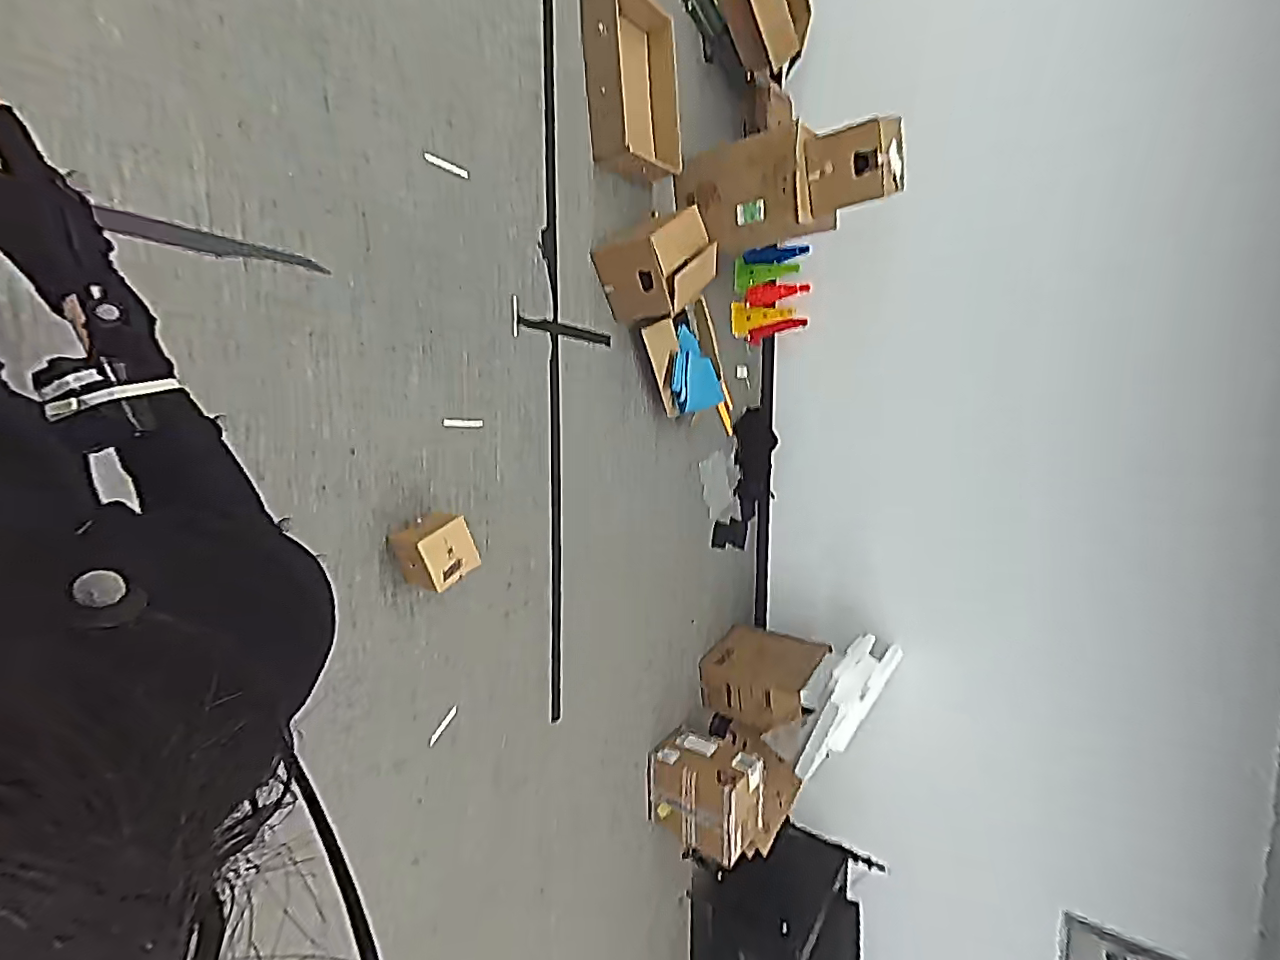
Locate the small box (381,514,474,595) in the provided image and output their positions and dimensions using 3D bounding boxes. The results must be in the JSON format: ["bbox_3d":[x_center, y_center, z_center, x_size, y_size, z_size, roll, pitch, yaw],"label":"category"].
[{"bbox_3d":[-0.641,0.219,1.631,0.168,0.176,0.179,-38,122,-46],"label":"small box"}]
